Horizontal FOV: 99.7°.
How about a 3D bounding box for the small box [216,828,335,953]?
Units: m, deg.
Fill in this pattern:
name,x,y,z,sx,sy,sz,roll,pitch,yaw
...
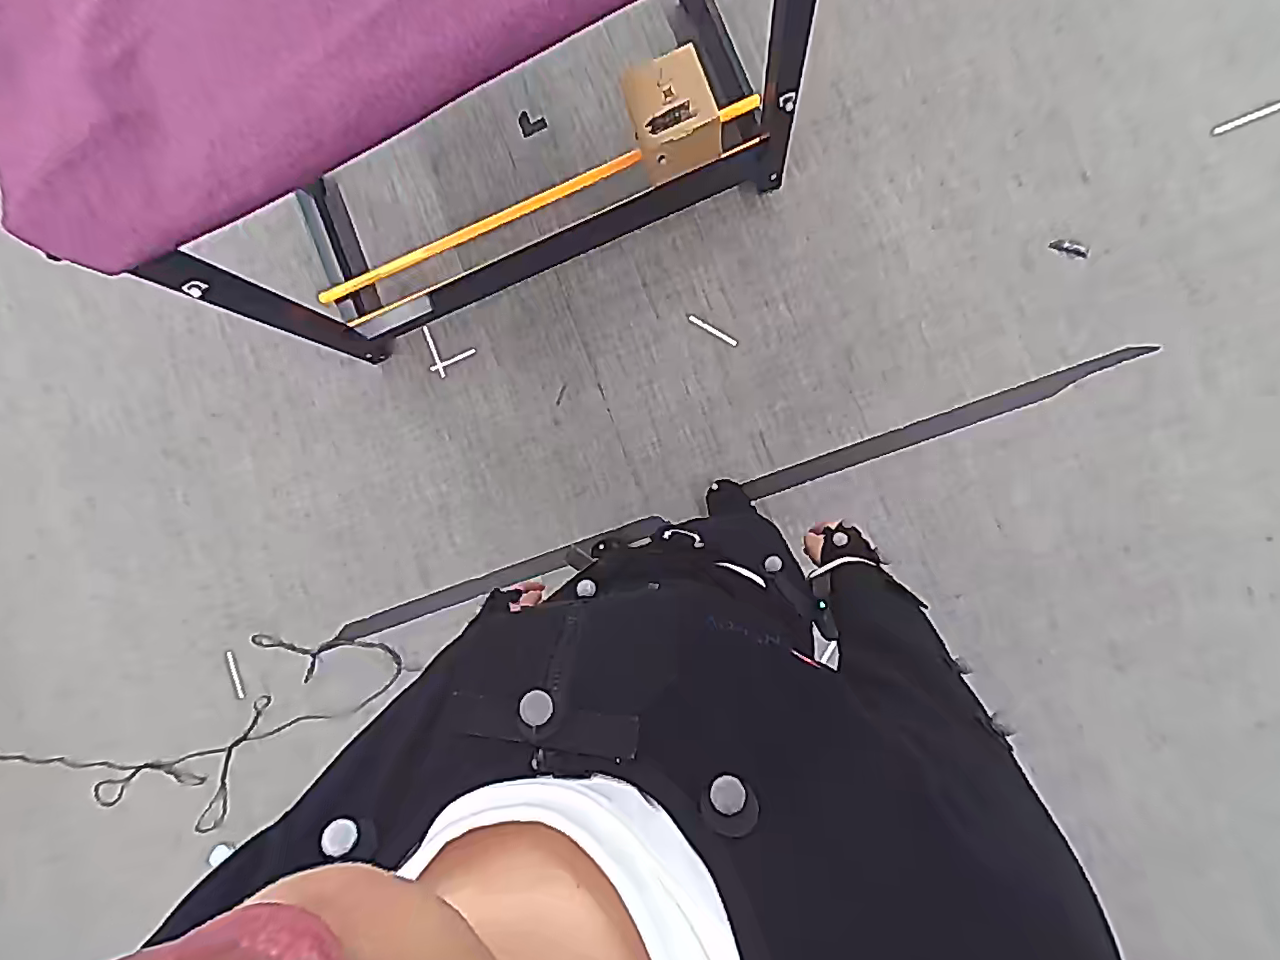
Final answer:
name,x,y,z,sx,sy,sz,roll,pitch,yaw
small box,-0.928,1.049,1.392,0.168,0.176,0.179,-21,87,6
